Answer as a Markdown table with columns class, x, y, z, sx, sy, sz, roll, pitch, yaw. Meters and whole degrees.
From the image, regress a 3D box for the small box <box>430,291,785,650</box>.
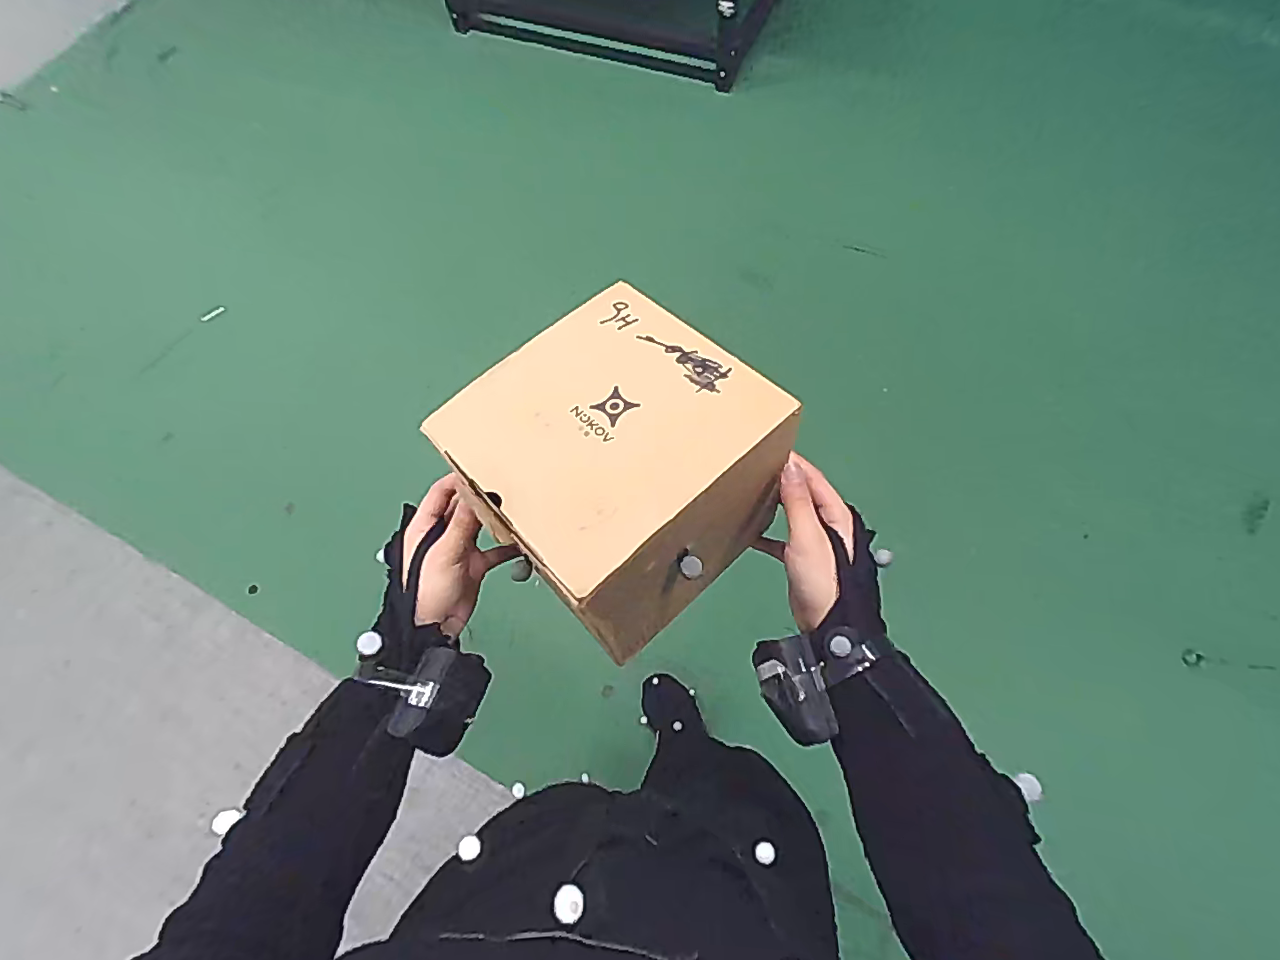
| class | x | y | z | sx | sy | sz | roll | pitch | yaw |
| --- | --- | --- | --- | --- | --- | --- | --- | --- | --- |
| small box | -0.014 | 0.002 | 0.411 | 0.179 | 0.176 | 0.168 | -41 | 64 | -14 |
